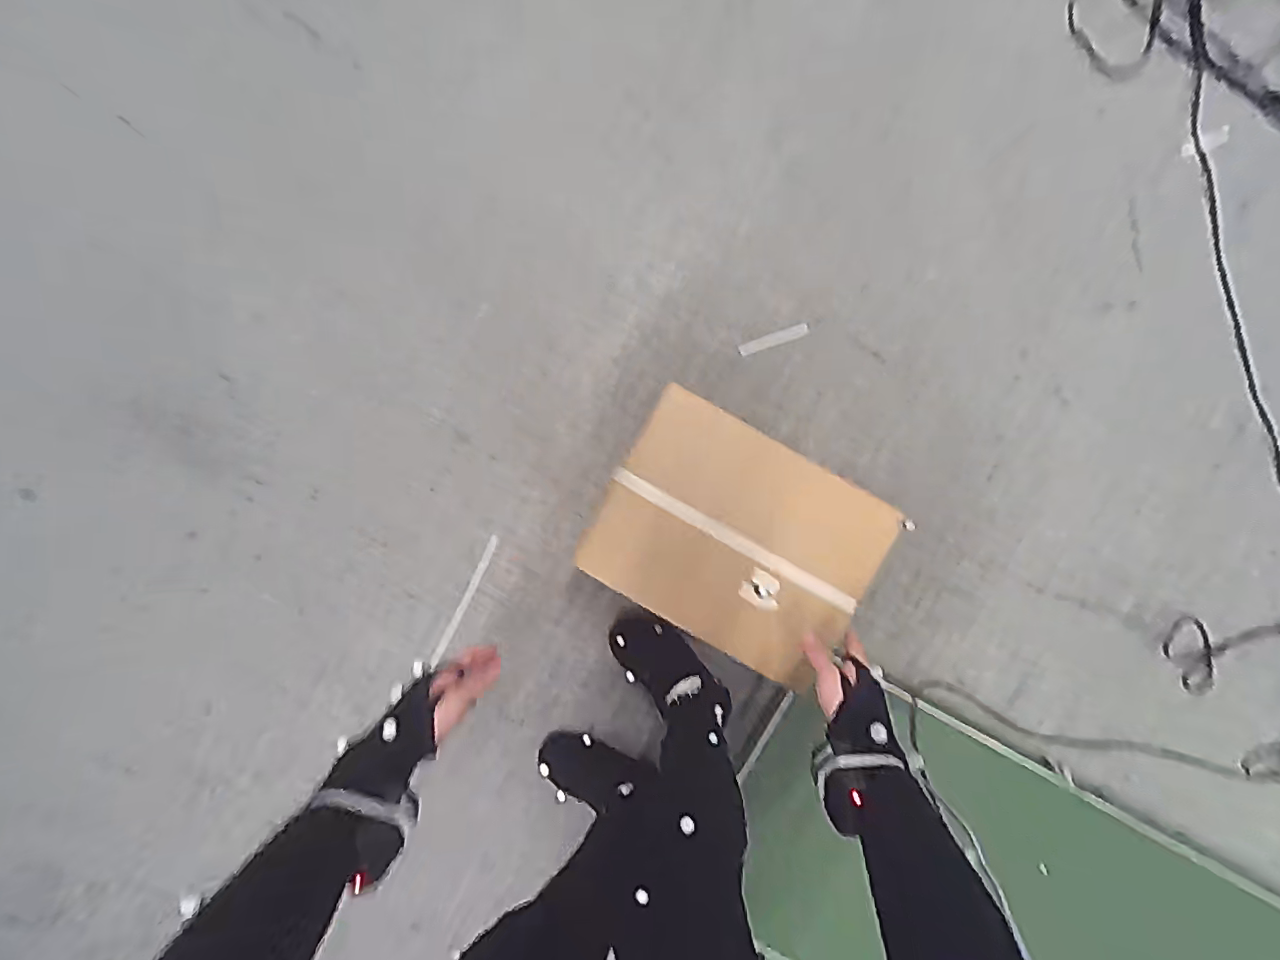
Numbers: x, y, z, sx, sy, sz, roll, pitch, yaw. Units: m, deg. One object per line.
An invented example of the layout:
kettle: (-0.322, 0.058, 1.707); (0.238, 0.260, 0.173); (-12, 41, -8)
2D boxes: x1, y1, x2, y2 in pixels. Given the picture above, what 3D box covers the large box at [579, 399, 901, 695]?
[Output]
large box: (0.150, 0.101, 0.966); (0.408, 0.320, 0.320); (30, 91, 0)
